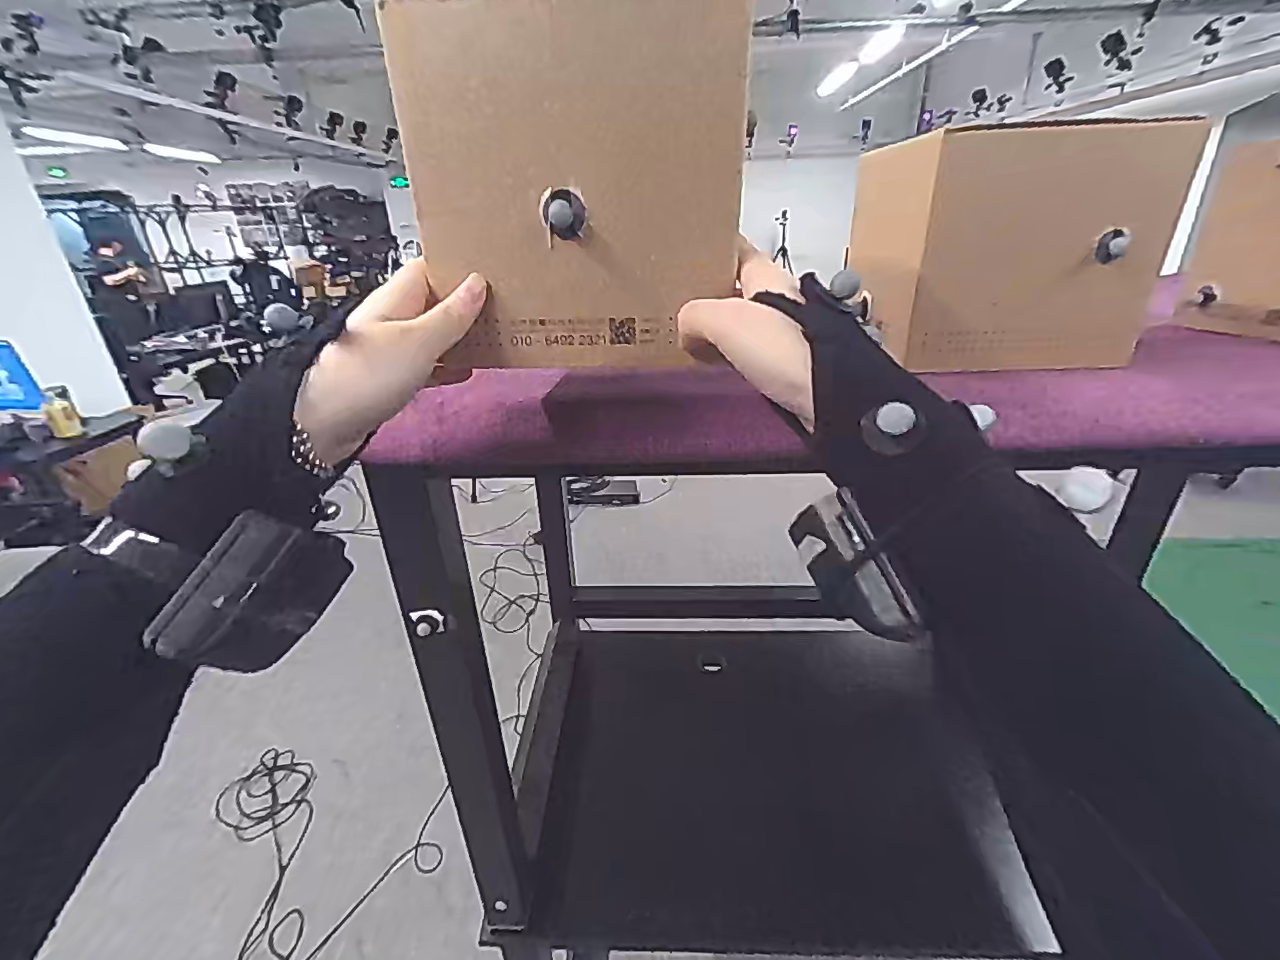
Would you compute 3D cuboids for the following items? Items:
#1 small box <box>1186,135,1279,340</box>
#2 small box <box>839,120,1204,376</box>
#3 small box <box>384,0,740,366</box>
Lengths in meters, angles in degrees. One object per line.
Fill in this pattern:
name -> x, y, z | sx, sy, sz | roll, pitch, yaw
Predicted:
small box -> 0.636, -0.211, 0.464 | 0.179, 0.176, 0.168 | -1, 24, 4
small box -> 0.287, -0.191, 0.459 | 0.179, 0.176, 0.168 | -2, 25, 2
small box -> -0.030, -0.175, 0.349 | 0.168, 0.176, 0.179 | 1, 27, 2
